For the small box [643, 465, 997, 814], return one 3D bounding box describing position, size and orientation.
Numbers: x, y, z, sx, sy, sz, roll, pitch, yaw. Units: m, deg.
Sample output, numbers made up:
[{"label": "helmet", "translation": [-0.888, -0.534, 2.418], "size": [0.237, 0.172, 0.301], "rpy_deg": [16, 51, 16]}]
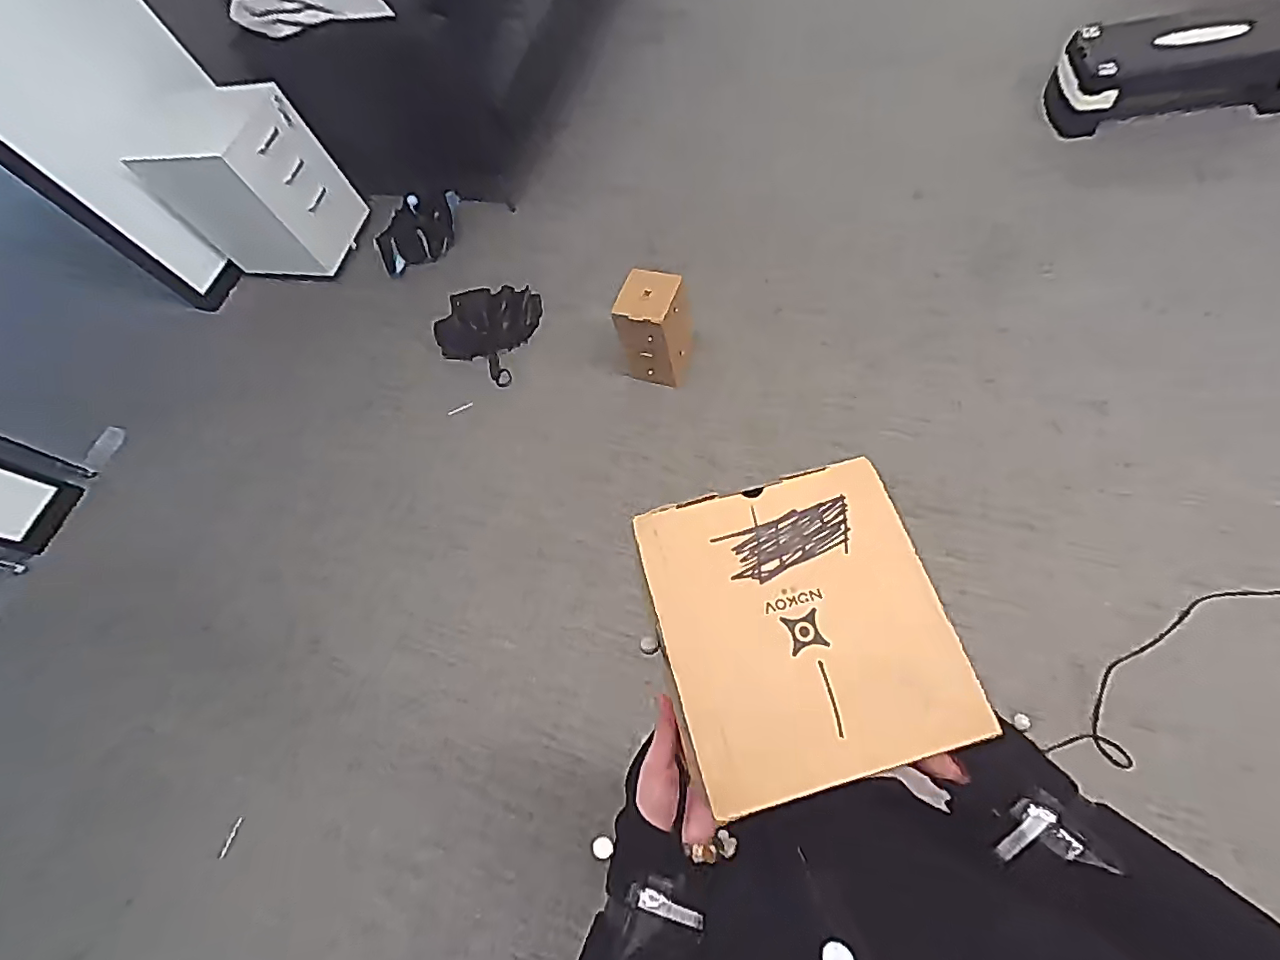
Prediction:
[{"label": "small box", "translation": [0.100, 0.115, 0.397], "size": [0.168, 0.176, 0.179], "rpy_deg": [-14, 68, -4]}]
